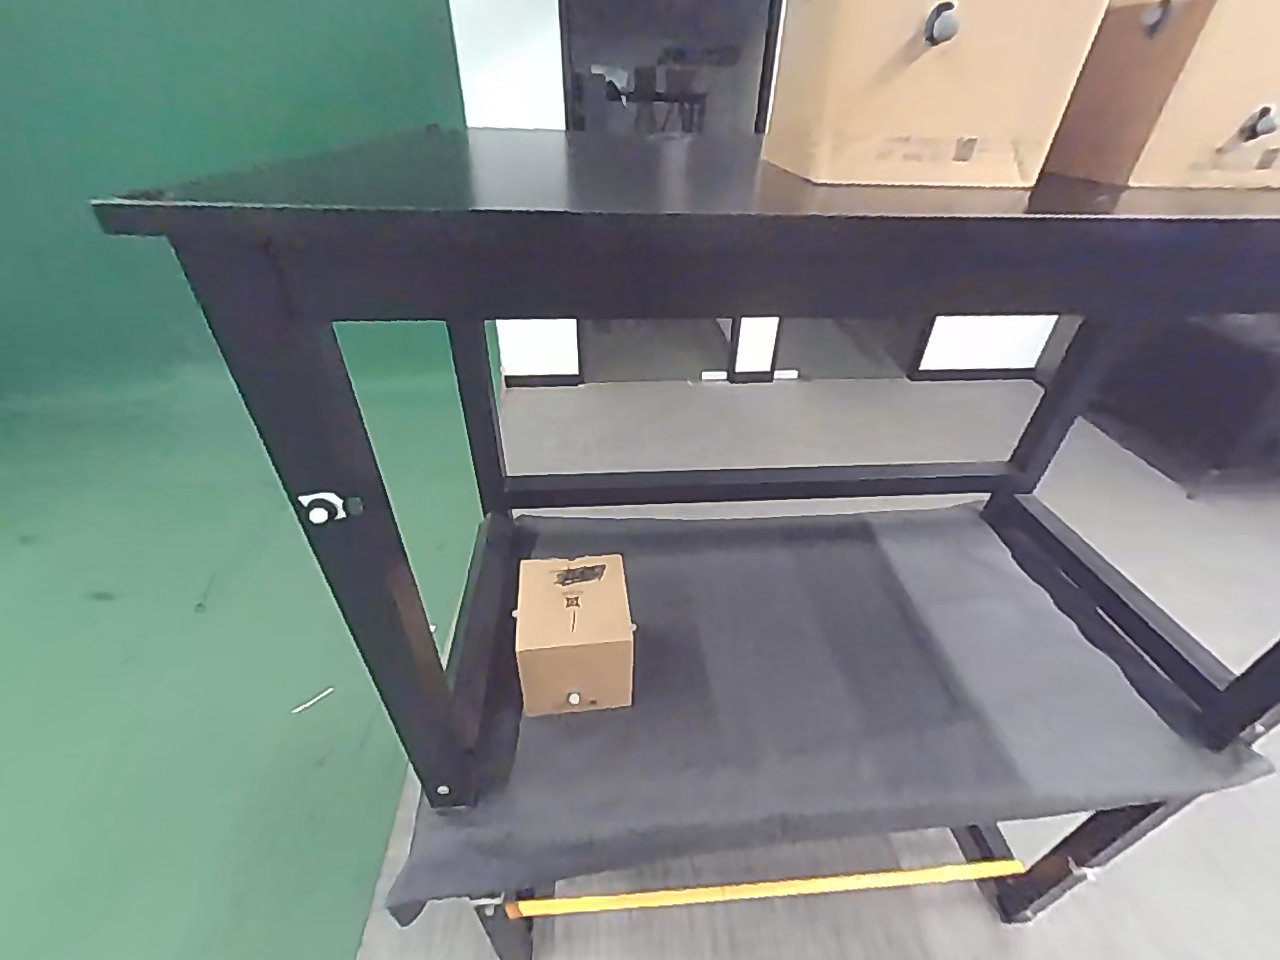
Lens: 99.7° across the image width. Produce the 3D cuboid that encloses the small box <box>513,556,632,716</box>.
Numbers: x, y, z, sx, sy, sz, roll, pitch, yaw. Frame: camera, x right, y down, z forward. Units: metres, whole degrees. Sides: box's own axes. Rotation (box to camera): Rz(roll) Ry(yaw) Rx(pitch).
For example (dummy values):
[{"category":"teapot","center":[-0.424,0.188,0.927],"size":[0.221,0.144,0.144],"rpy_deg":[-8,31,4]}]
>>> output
[{"category":"small box","center":[-0.105,0.244,0.860],"size":[0.168,0.176,0.179],"rpy_deg":[-3,36,-6]}]

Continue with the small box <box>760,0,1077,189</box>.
[{"category":"small box","center":[0.199,-0.328,0.416],"size":[0.168,0.176,0.179],"rpy_deg":[0,35,-2]}]
